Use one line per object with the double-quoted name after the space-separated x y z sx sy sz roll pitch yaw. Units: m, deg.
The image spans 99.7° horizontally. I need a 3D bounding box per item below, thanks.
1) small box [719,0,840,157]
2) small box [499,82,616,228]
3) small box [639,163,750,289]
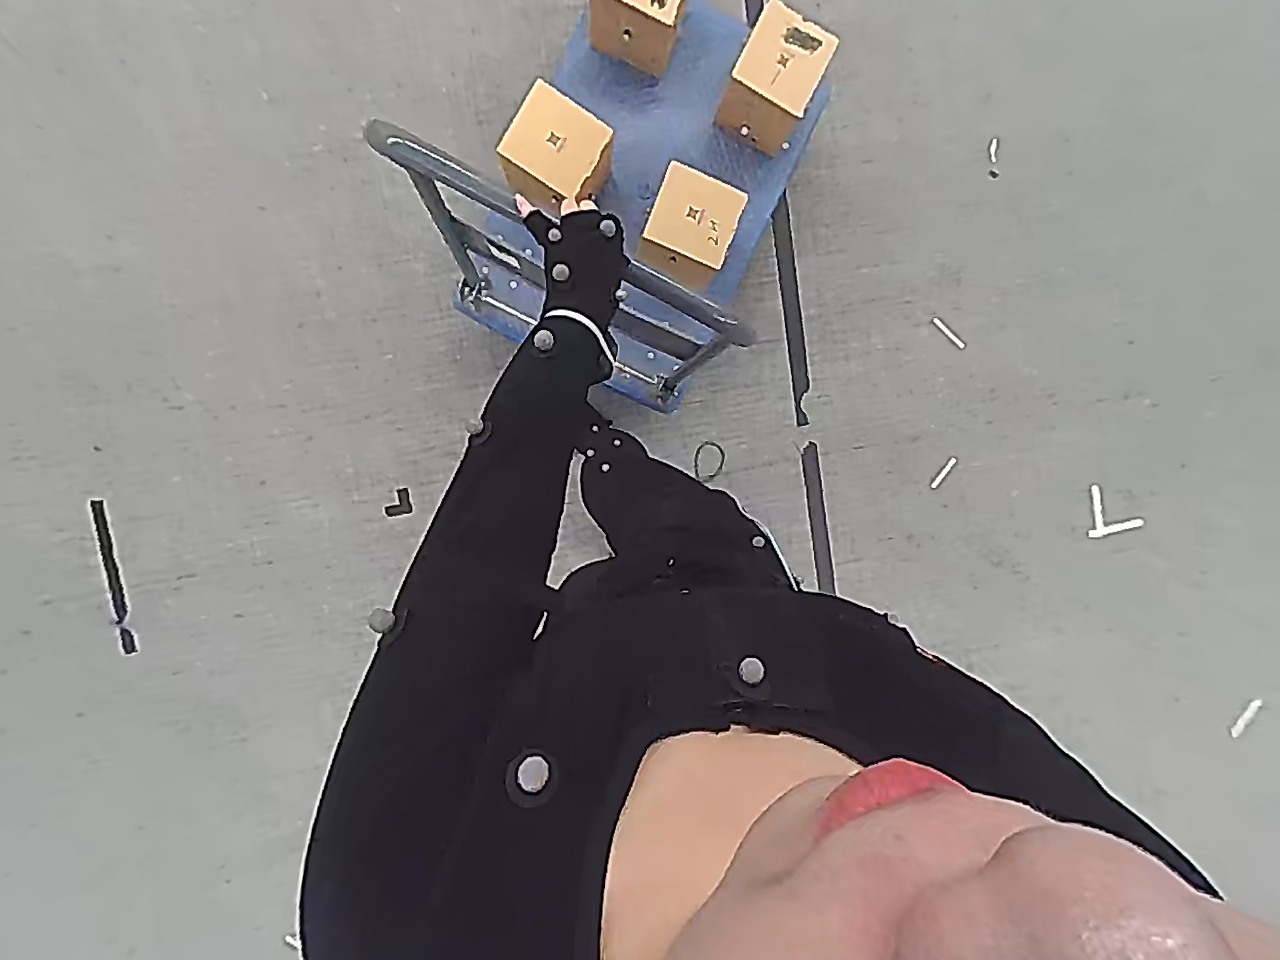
0.288 -0.851 1.166 0.168 0.176 0.179 27 93 -7 "small box"
-0.170 -0.668 1.138 0.179 0.176 0.168 31 91 -9 "small box"
0.108 -0.538 1.175 0.179 0.176 0.168 22 92 -7 "small box"
